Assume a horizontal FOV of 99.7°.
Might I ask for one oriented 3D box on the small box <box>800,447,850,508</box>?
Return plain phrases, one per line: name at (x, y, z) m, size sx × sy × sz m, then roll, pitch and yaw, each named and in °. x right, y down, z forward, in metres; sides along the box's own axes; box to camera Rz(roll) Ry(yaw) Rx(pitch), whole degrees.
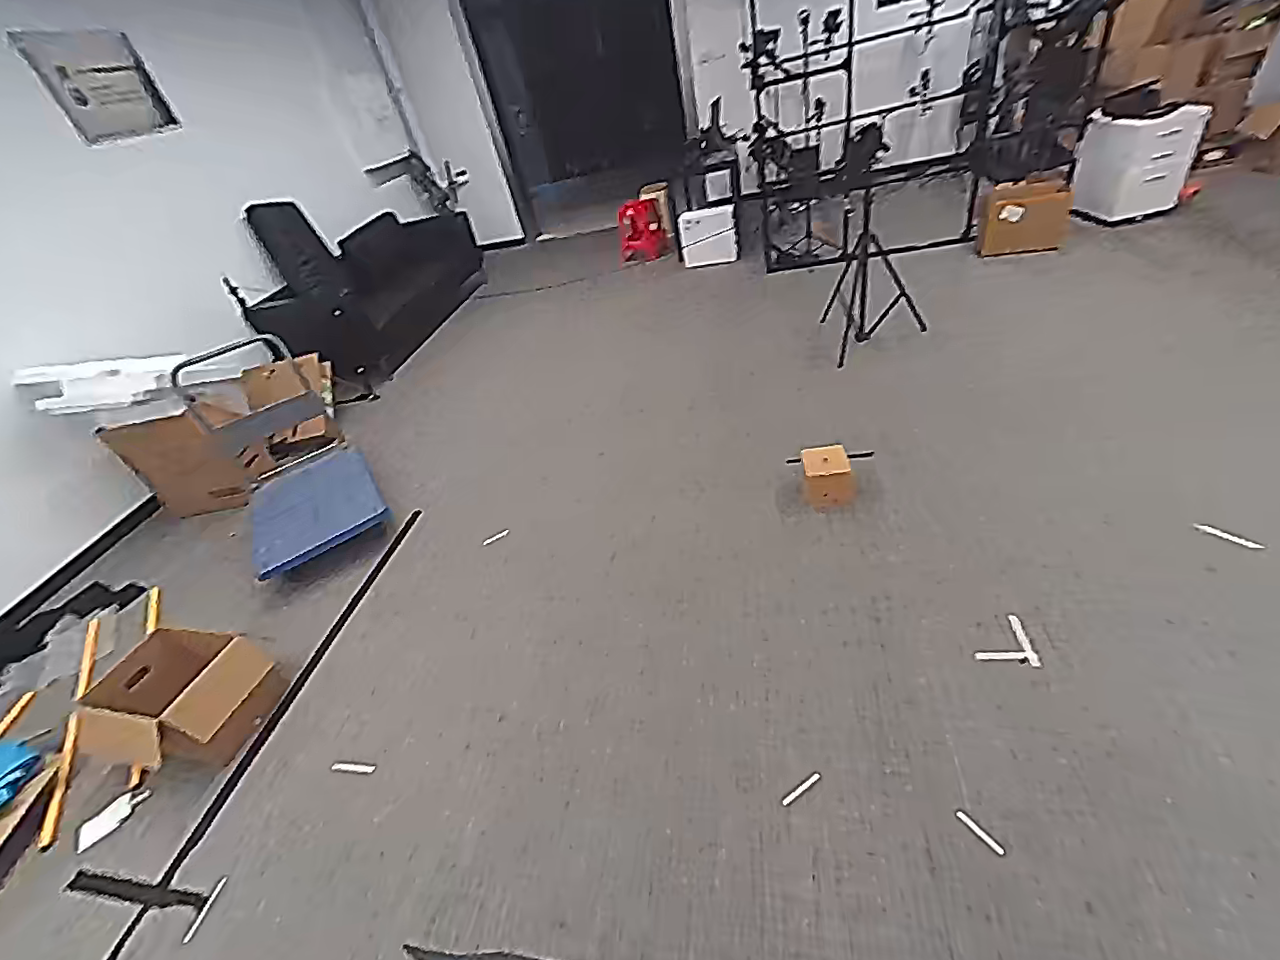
small box at (0.741, -0.009, 2.180) m, size 0.168 × 0.176 × 0.179 m, roll -7°, pitch 38°, yaw 10°
